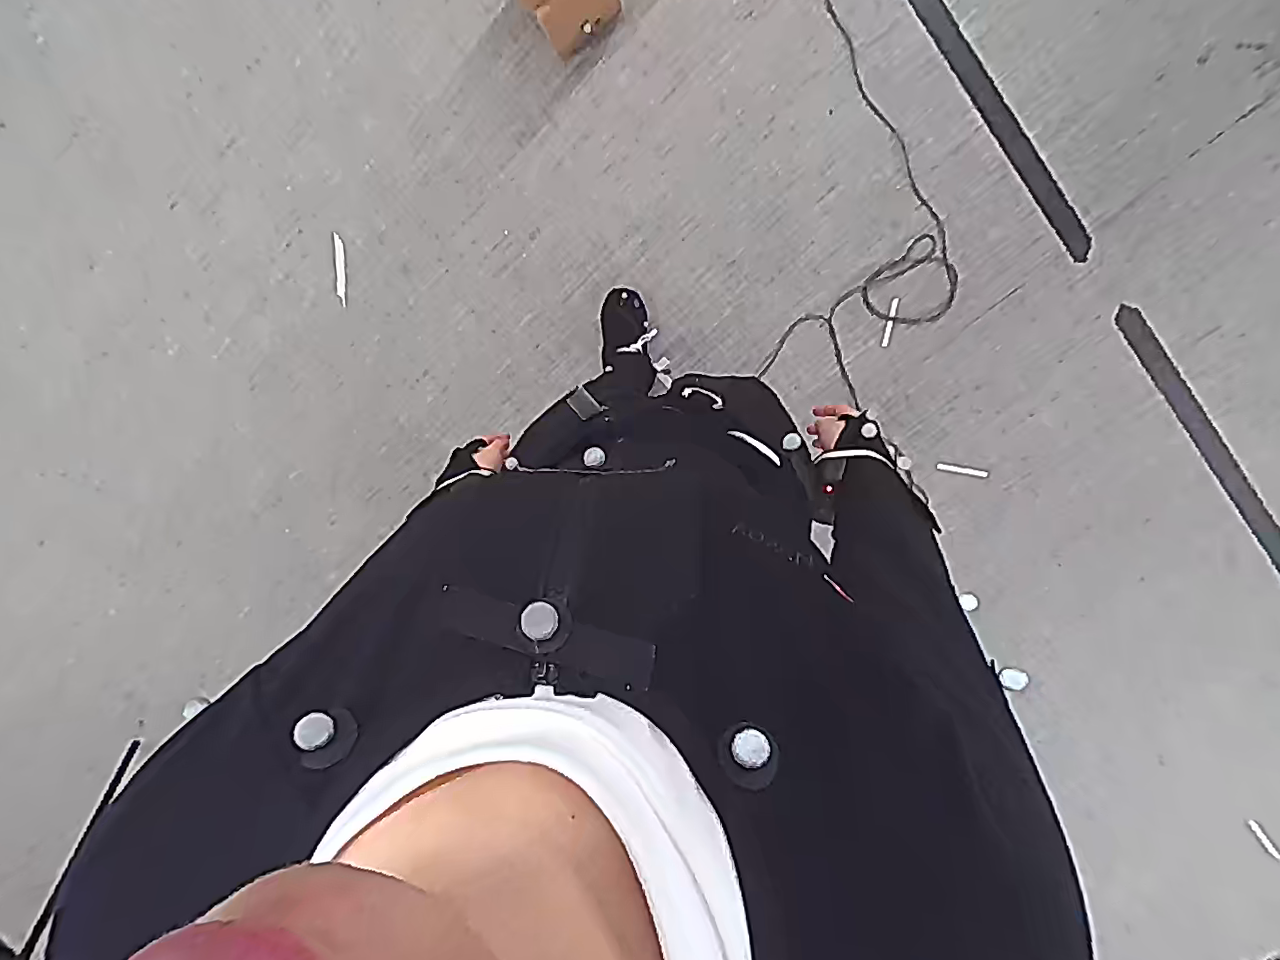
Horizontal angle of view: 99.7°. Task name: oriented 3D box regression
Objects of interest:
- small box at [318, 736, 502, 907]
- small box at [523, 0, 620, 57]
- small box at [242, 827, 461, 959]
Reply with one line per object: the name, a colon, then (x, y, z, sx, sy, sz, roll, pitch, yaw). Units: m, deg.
small box: (-0.331, 0.529, 0.811, 0.179, 0.176, 0.168, -38, 98, 14)
small box: (-0.157, -0.986, 1.047, 0.168, 0.176, 0.179, -31, 101, 13)
small box: (-0.353, 0.574, 0.654, 0.179, 0.176, 0.168, -36, 100, 13)
